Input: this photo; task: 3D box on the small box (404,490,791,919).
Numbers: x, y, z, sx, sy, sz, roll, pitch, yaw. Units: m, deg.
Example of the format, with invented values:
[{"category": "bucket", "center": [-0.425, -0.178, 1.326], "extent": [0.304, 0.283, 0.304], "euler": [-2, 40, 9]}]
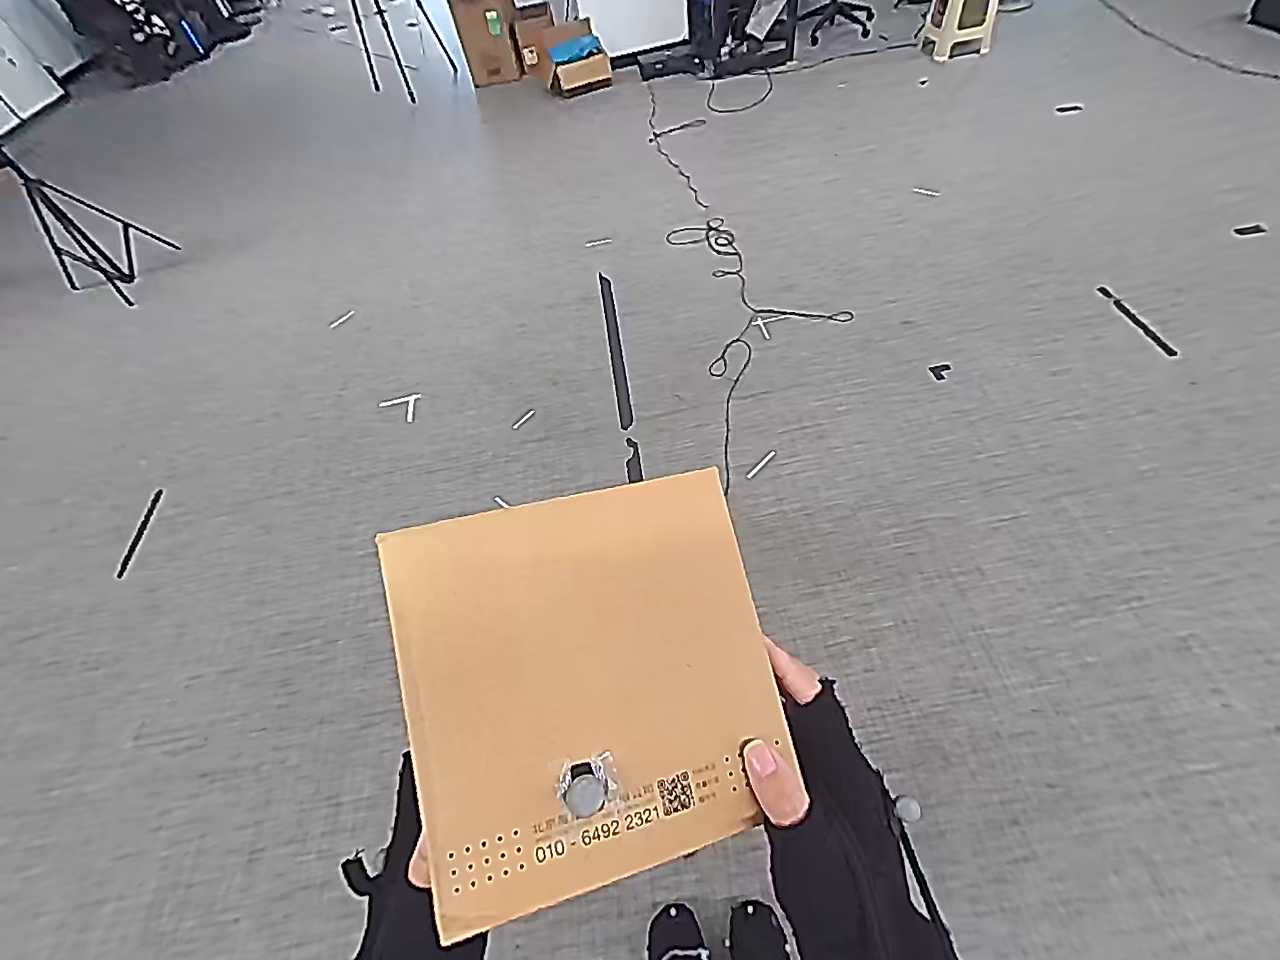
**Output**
[{"category": "small box", "center": [-0.033, 0.118, 0.338], "extent": [0.168, 0.179, 0.176], "euler": [-11, 79, -14]}]
